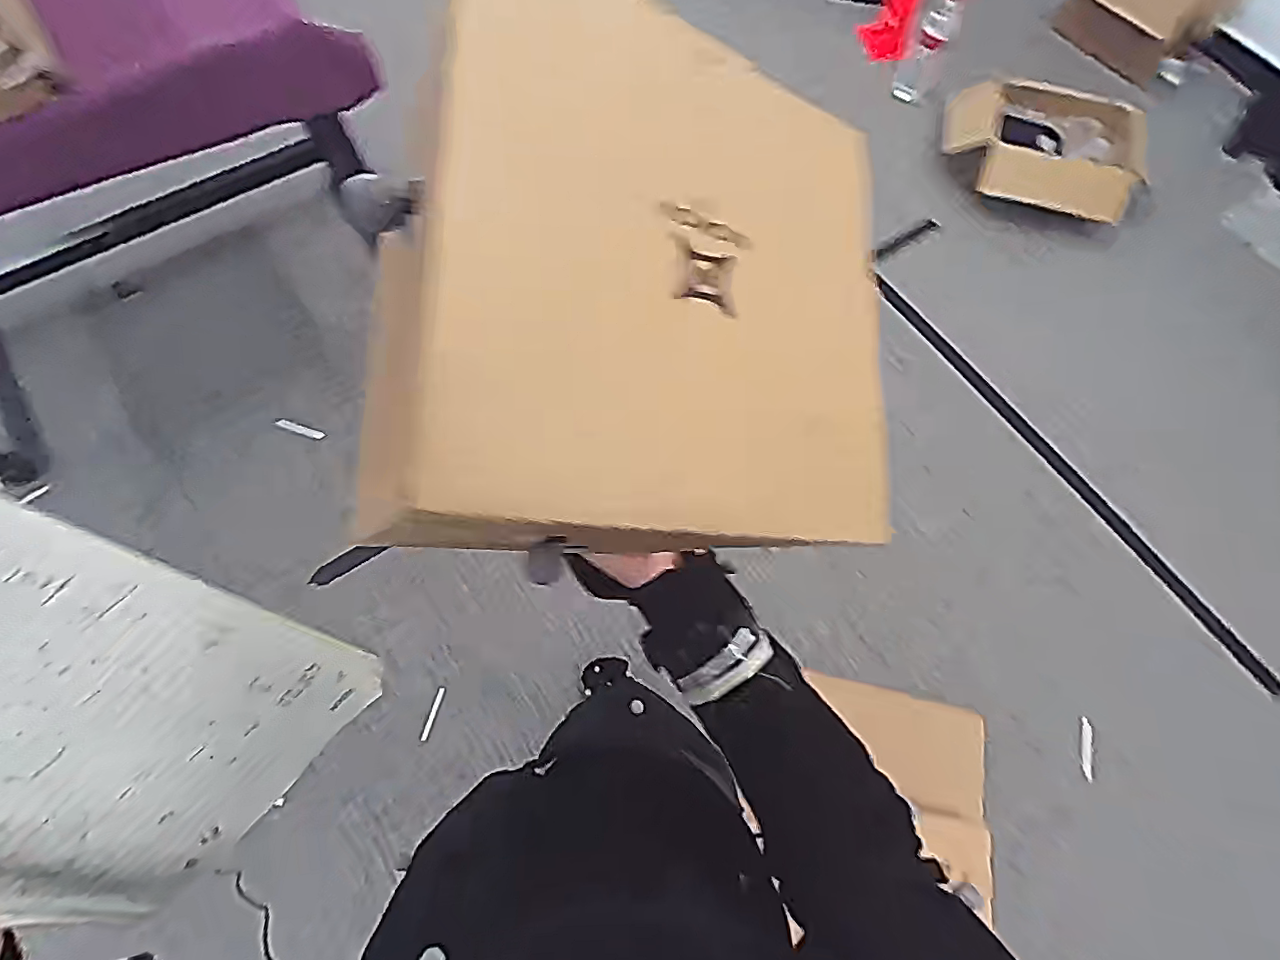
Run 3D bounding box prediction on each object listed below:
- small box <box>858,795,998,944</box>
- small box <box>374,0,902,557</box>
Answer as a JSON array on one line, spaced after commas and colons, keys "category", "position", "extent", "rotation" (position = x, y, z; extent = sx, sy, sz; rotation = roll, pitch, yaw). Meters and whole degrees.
[{"category": "small box", "position": [0.523, 0.703, 1.000], "extent": [0.179, 0.176, 0.168], "rotation": [11, 72, 2]}, {"category": "small box", "position": [-0.017, -0.056, 0.239], "extent": [0.168, 0.176, 0.179], "rotation": [5, 78, -30]}]
